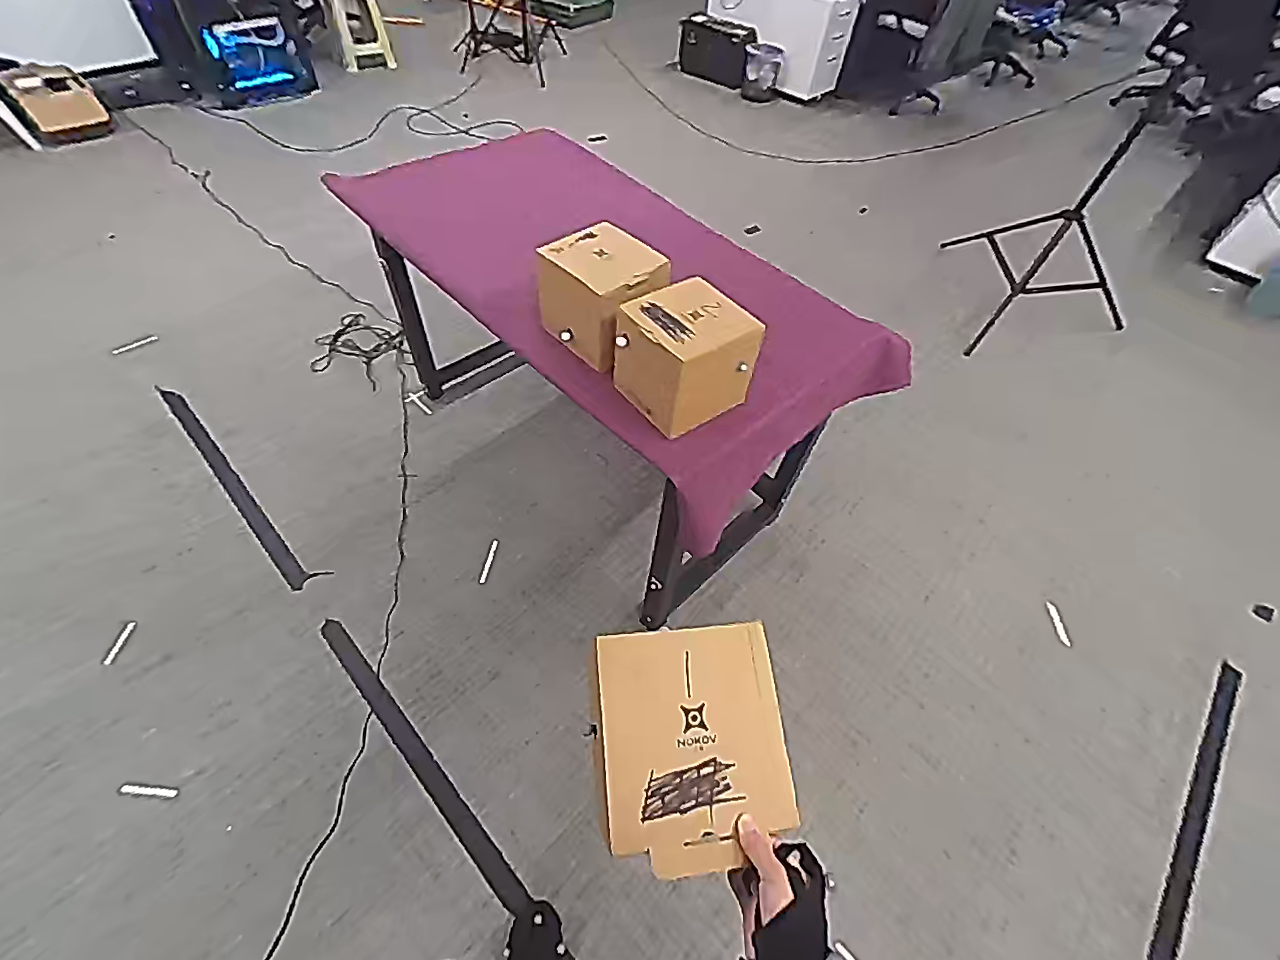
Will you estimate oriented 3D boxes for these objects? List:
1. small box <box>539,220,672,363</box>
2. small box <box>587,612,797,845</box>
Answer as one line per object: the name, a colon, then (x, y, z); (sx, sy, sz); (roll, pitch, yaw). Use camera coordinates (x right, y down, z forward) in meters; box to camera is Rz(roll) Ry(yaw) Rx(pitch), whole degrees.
small box: (-0.065, -0.340, 1.000); (0.168, 0.176, 0.179); (-36, 65, -27)
small box: (0.036, 0.242, 0.552); (0.168, 0.176, 0.179); (-3, 67, -11)
